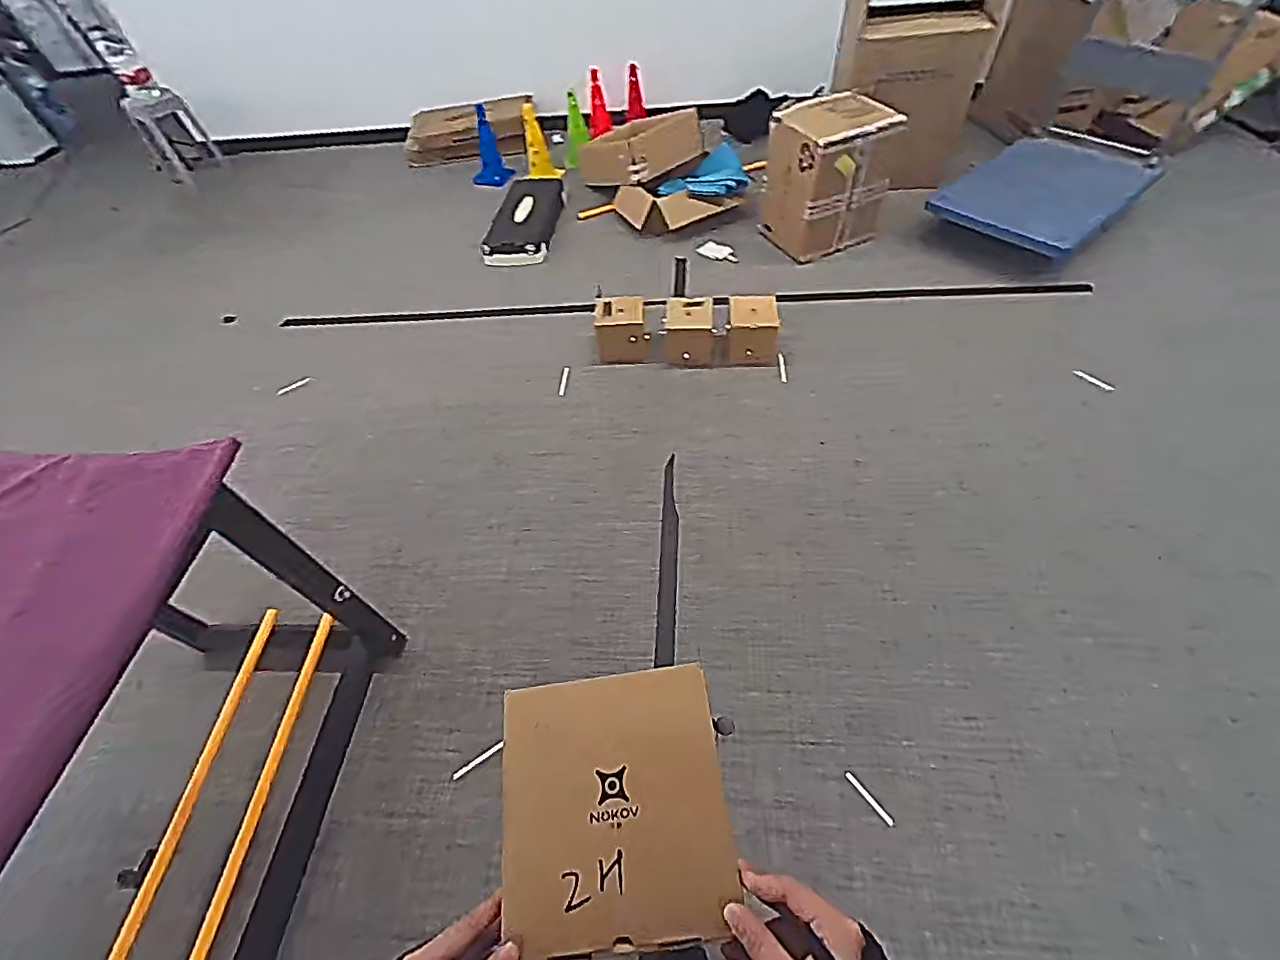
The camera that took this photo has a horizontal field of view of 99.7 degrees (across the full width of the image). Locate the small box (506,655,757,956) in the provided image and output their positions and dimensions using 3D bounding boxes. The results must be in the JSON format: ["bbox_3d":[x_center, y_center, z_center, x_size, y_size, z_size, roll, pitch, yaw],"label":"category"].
[{"bbox_3d":[-0.004,0.265,0.457,0.168,0.176,0.179,-9,58,3],"label":"small box"}]

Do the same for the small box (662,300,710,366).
[{"bbox_3d":[0.171,-0.543,1.992,0.168,0.176,0.179,1,54,7],"label":"small box"}]

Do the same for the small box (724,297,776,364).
[{"bbox_3d":[0.398,-0.547,1.978,0.168,0.176,0.179,0,53,5],"label":"small box"}]
